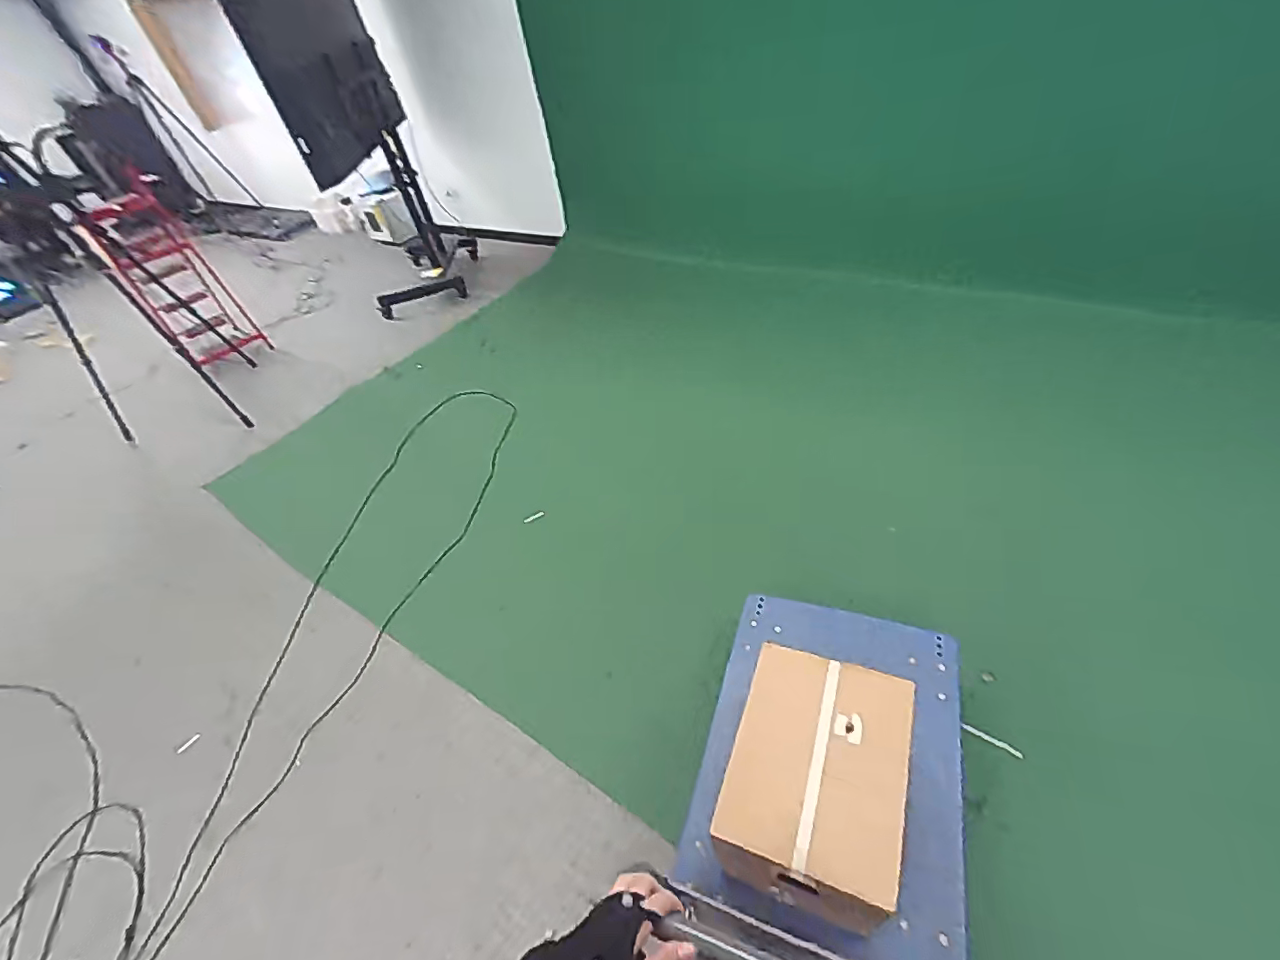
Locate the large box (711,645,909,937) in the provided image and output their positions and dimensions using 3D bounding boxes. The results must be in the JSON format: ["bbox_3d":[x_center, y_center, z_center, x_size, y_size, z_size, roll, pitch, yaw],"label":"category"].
[{"bbox_3d":[0.364,0.637,1.141,0.320,0.320,0.408,11,47,23],"label":"large box"}]
